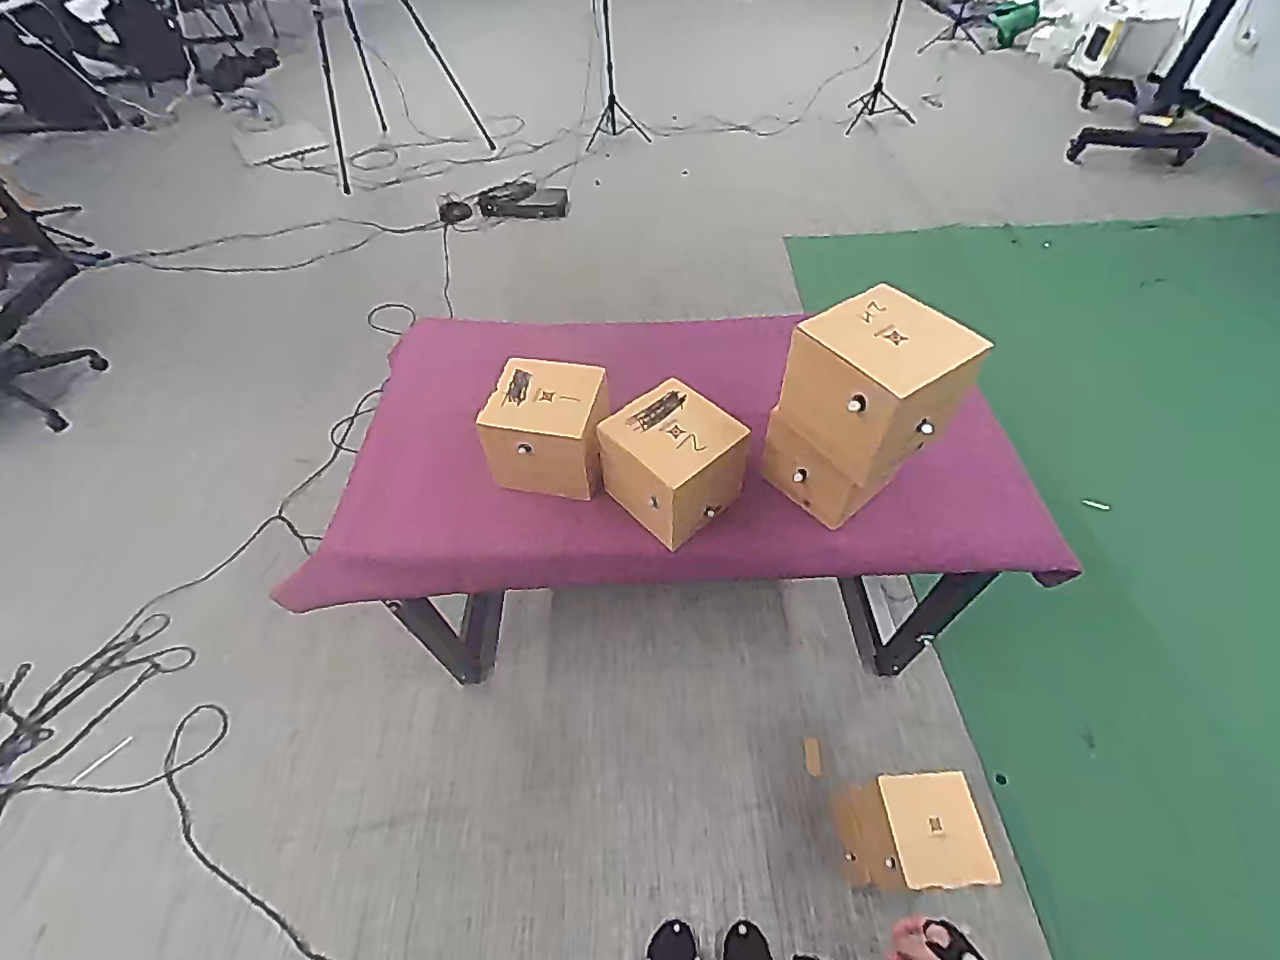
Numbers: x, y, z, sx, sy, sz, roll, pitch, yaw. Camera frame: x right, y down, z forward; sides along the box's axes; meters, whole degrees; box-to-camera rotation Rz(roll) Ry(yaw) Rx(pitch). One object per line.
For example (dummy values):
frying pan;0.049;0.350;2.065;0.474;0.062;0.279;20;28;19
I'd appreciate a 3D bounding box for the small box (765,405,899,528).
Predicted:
small box;0.325;-0.052;0.898;0.179;0.176;0.168;-34;57;-22

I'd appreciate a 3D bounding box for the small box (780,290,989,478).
small box;0.318;-0.125;0.744;0.168;0.176;0.179;-27;54;-18

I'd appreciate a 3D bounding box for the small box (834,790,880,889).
small box;0.531;0.777;1.165;0.179;0.176;0.168;-1;52;1

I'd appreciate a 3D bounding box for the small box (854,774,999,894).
small box;0.531;0.679;1.036;0.168;0.176;0.179;-3;53;0

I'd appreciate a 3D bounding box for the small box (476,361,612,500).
small box;-0.155;-0.083;0.944;0.179;0.176;0.168;9;53;8
